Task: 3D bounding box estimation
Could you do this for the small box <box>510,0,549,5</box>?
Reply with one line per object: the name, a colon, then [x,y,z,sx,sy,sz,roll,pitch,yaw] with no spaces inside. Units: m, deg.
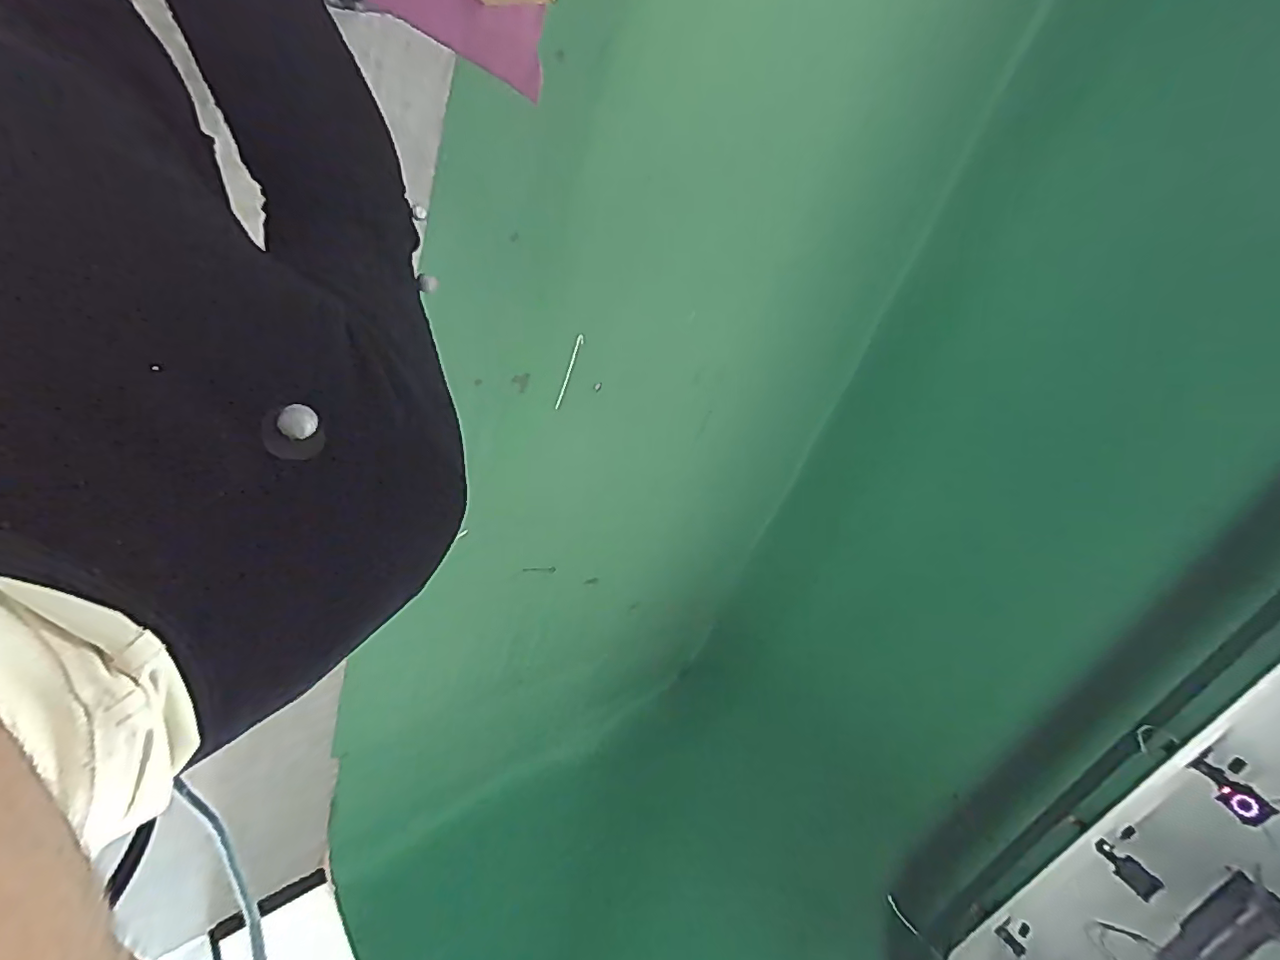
small box: [-0.188,-0.671,0.592,0.179,0.176,0.168,-2,121,-48]
